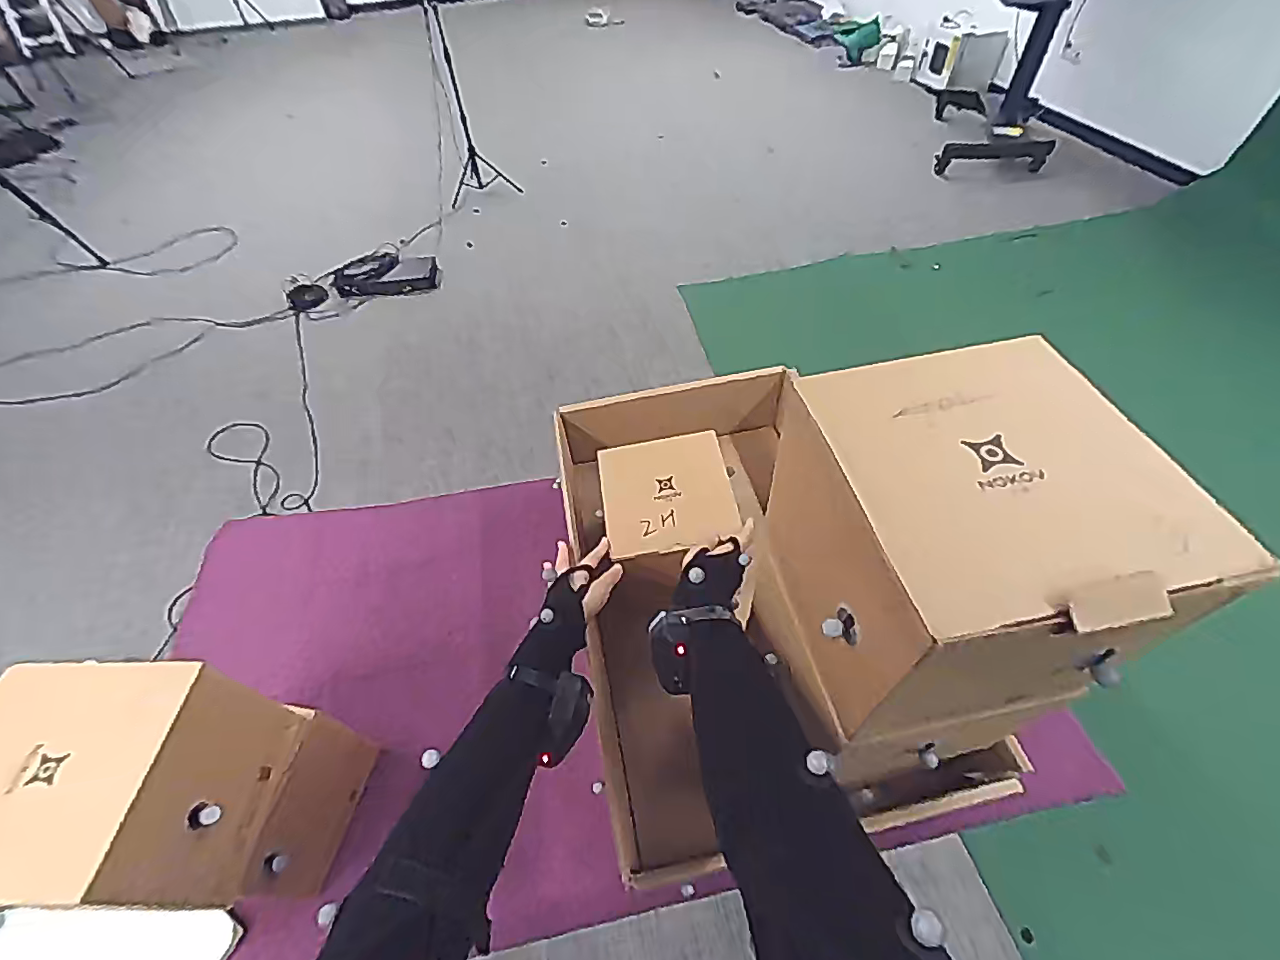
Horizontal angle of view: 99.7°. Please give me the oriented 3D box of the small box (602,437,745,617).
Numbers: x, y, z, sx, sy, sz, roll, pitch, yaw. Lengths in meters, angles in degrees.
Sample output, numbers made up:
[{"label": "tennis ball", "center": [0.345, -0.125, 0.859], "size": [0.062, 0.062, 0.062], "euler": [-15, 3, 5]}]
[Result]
[{"label": "small box", "center": [0.043, 0.068, 0.754], "size": [0.168, 0.176, 0.179], "euler": [-9, 52, 1]}]

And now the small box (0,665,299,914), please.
[{"label": "small box", "center": [-0.448, 0.272, 0.474], "size": [0.179, 0.176, 0.168], "euler": [-2, 51, 3]}]

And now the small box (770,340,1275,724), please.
[{"label": "small box", "center": [0.194, 0.041, 0.349], "size": [0.168, 0.176, 0.179], "euler": [-10, 50, -3]}]

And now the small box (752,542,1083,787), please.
[{"label": "small box", "center": [0.209, 0.148, 0.471], "size": [0.179, 0.176, 0.168], "euler": [-11, 51, -2]}]
